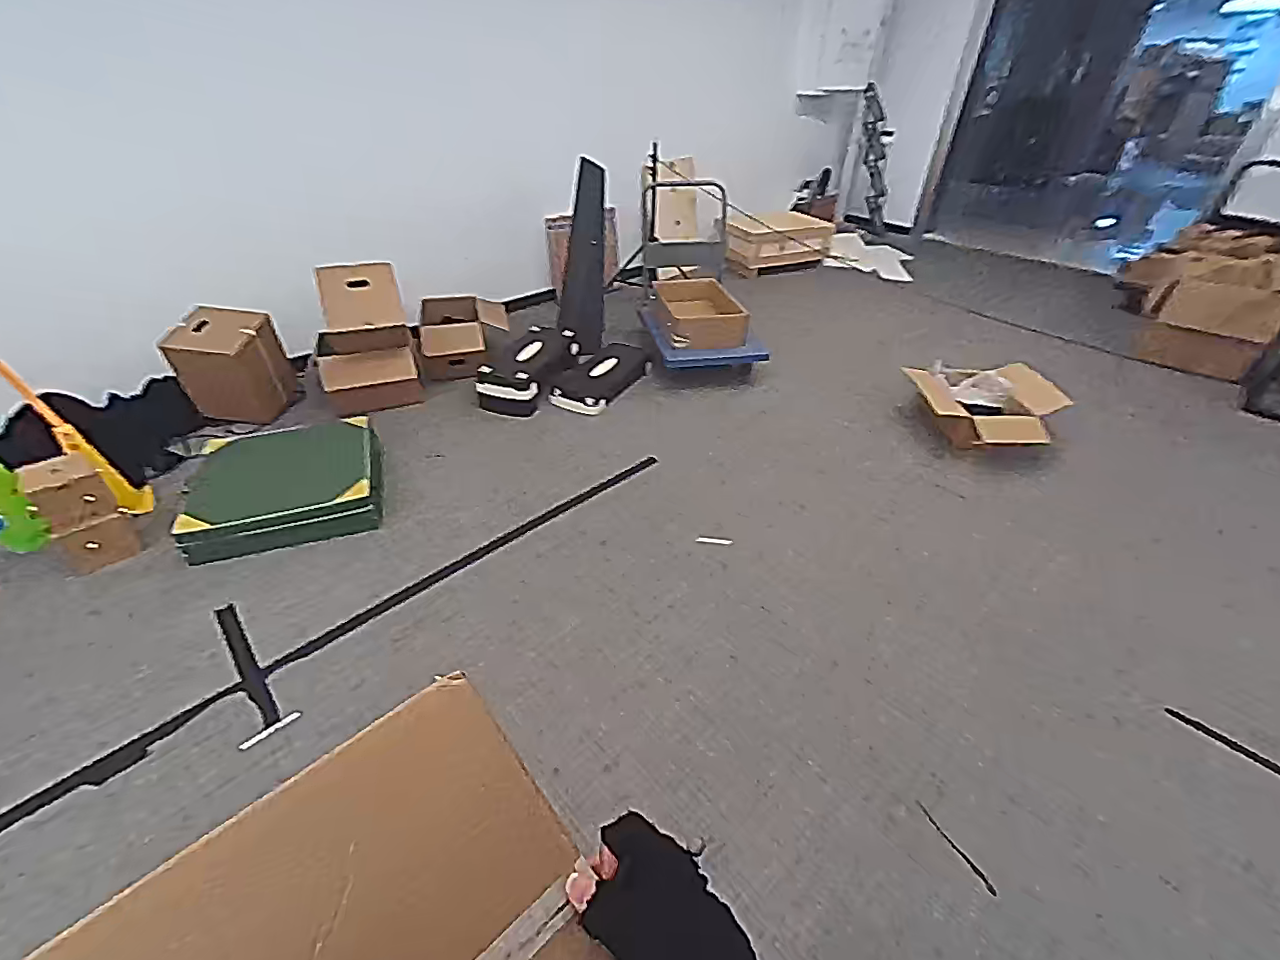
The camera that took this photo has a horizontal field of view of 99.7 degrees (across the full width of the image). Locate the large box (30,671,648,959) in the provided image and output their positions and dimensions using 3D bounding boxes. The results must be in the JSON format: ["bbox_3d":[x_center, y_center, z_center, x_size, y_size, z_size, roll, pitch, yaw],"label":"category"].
[{"bbox_3d":[-0.228,0.411,0.382,0.408,0.320,0.320,-31,77,-30],"label":"large box"}]
